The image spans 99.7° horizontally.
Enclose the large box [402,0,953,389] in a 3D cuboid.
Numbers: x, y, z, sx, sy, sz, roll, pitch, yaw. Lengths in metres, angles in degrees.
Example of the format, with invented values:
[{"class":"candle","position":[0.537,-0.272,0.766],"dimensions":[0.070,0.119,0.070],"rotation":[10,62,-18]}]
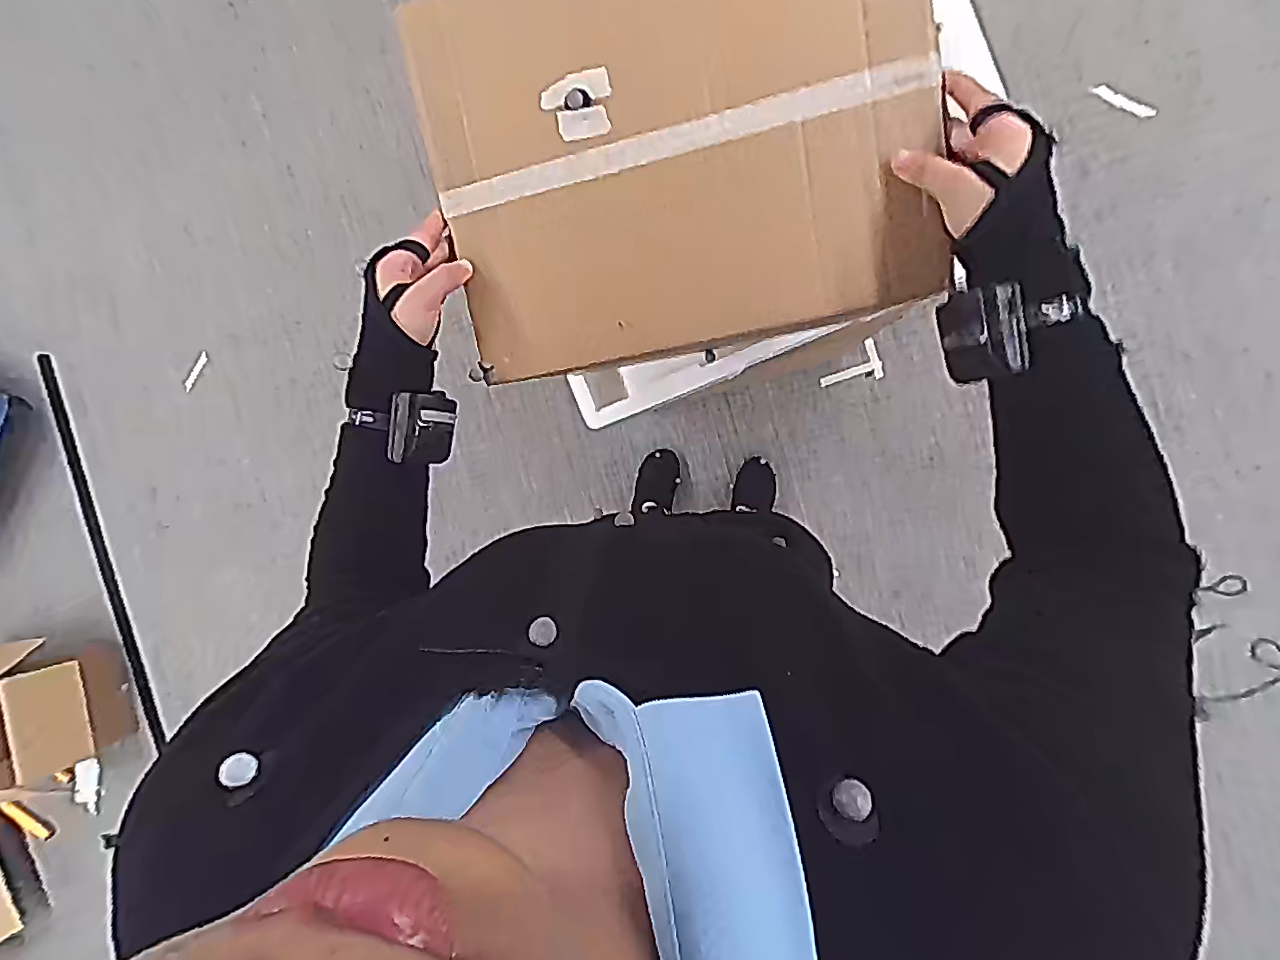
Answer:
[{"class":"large box","position":[0.047,-0.298,0.580],"dimensions":[0.408,0.320,0.320],"rotation":[-11,99,11]}]
